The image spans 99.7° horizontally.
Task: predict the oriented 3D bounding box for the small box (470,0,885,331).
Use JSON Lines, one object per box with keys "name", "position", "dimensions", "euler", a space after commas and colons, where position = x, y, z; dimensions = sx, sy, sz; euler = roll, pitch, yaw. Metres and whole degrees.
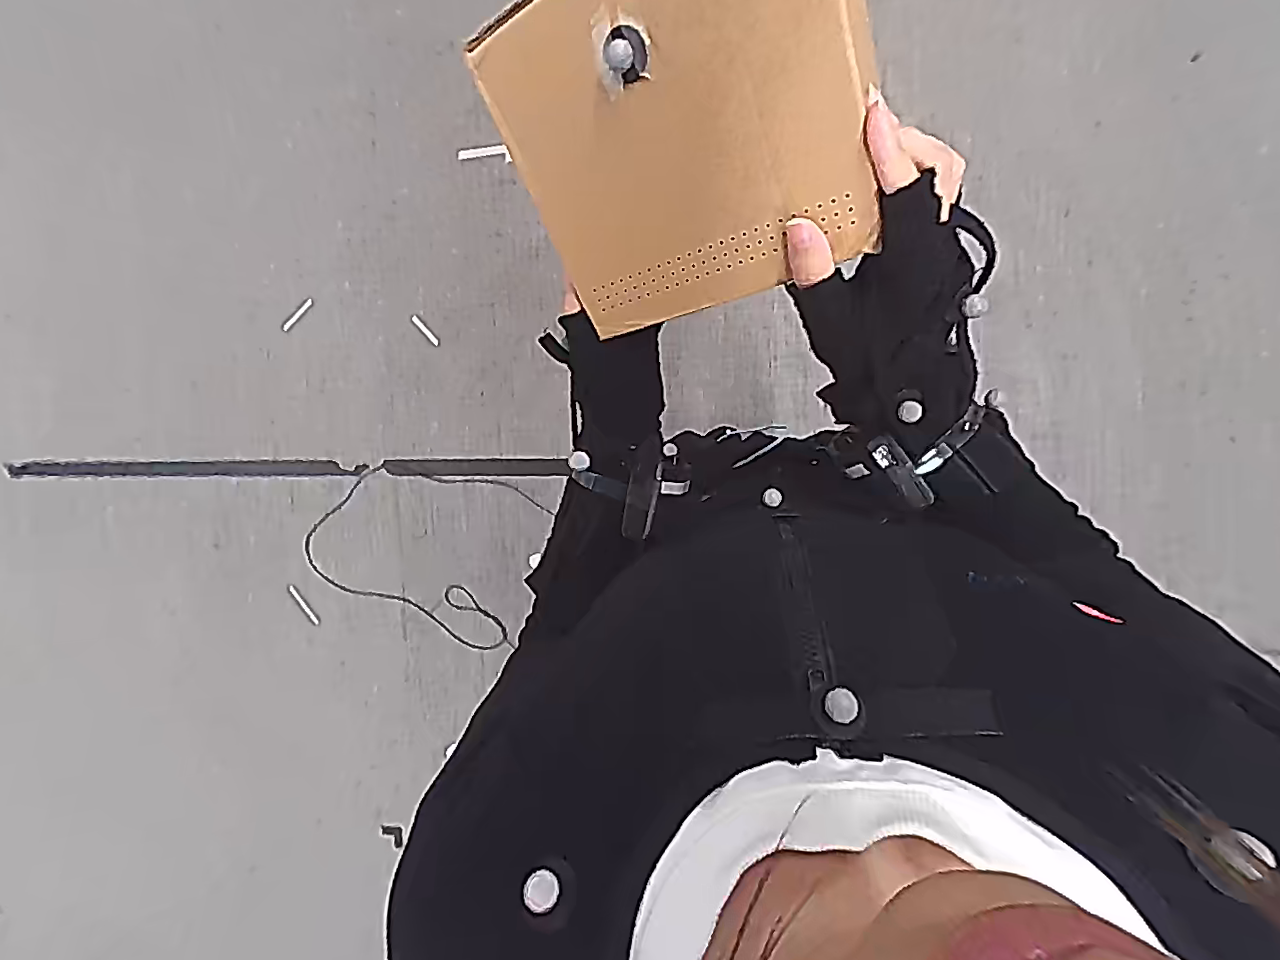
{"name": "small box", "position": [0.040, -0.216, 0.340], "dimensions": [0.179, 0.168, 0.176], "euler": [-9, 125, 32]}
